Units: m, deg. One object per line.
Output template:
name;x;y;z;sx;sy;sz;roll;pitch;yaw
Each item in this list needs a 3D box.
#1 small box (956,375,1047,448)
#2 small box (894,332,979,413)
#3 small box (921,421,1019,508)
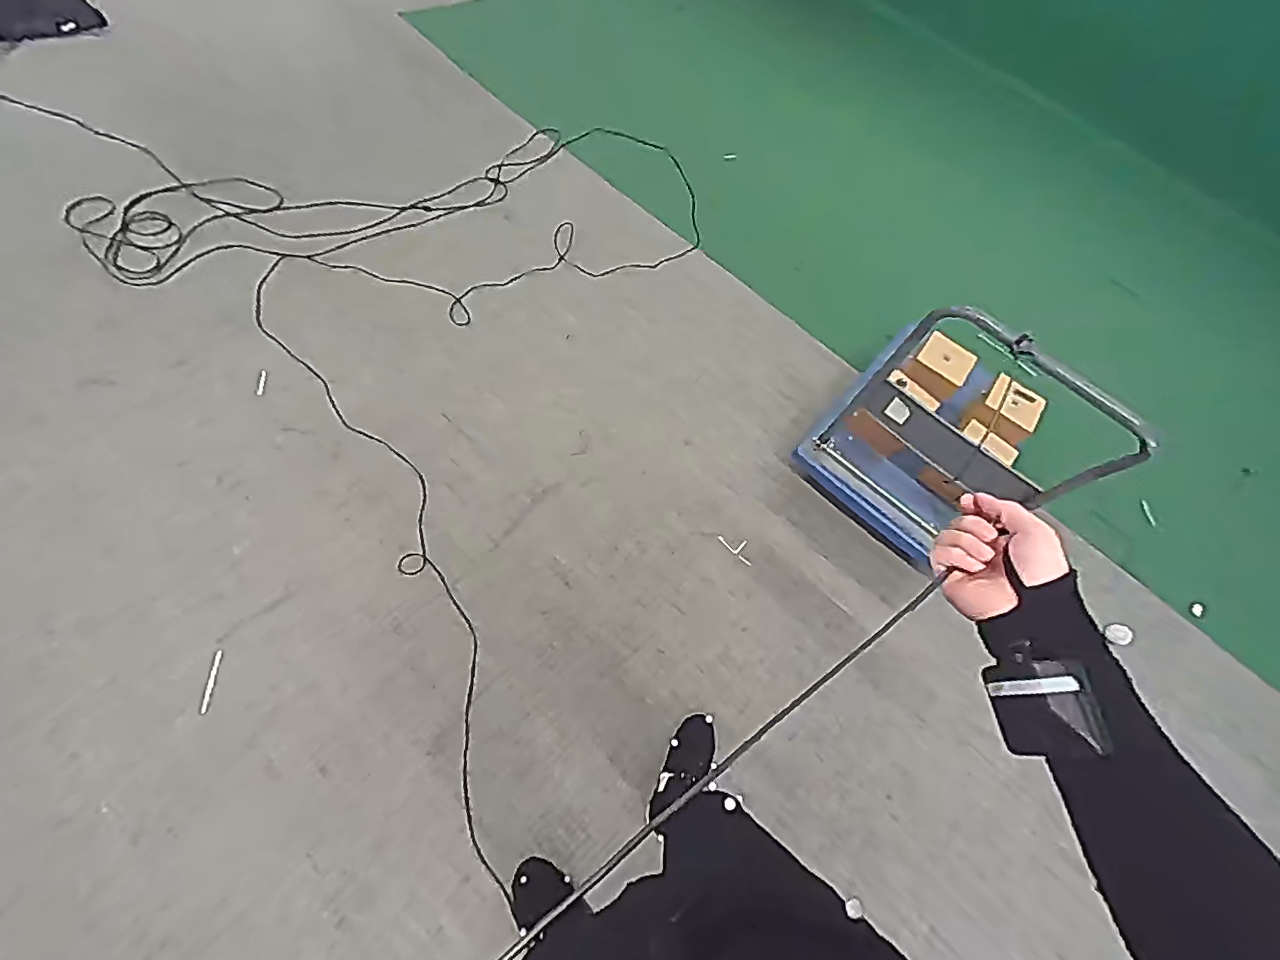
small box;1.196;-0.208;1.800;0.168;0.176;0.179;38;63;11
small box;1.001;-0.361;1.844;0.168;0.176;0.179;39;62;9
small box;1.017;-0.045;1.681;0.168;0.176;0.179;43;64;12
